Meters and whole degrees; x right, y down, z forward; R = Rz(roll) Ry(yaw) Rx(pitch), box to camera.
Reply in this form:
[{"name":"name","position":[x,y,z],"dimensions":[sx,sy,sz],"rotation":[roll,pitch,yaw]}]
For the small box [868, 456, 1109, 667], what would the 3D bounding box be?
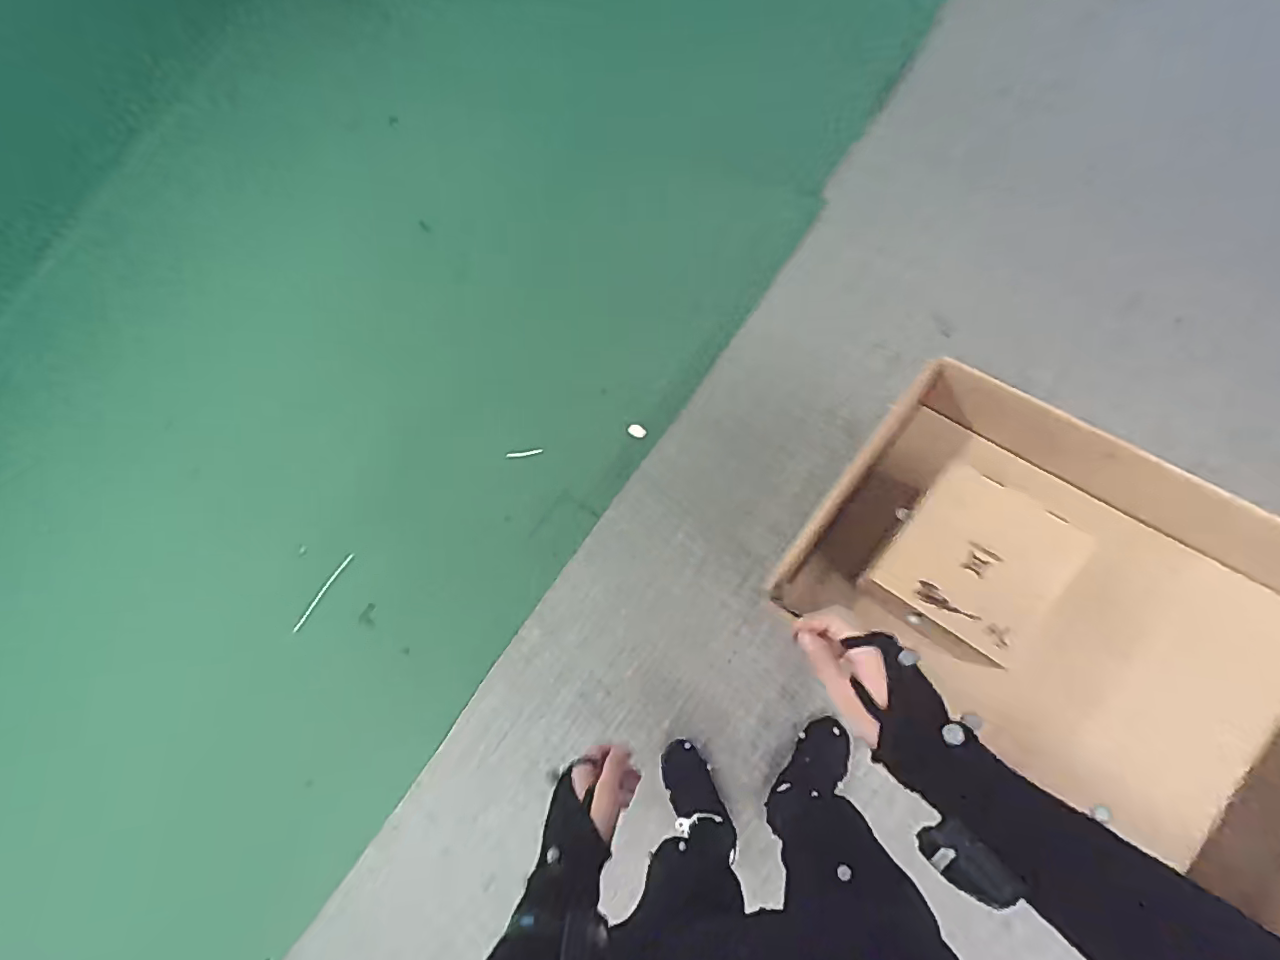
[{"name":"small box","position":[0.406,0.103,0.669],"dimensions":[0.168,0.176,0.179],"rotation":[36,87,21]}]
